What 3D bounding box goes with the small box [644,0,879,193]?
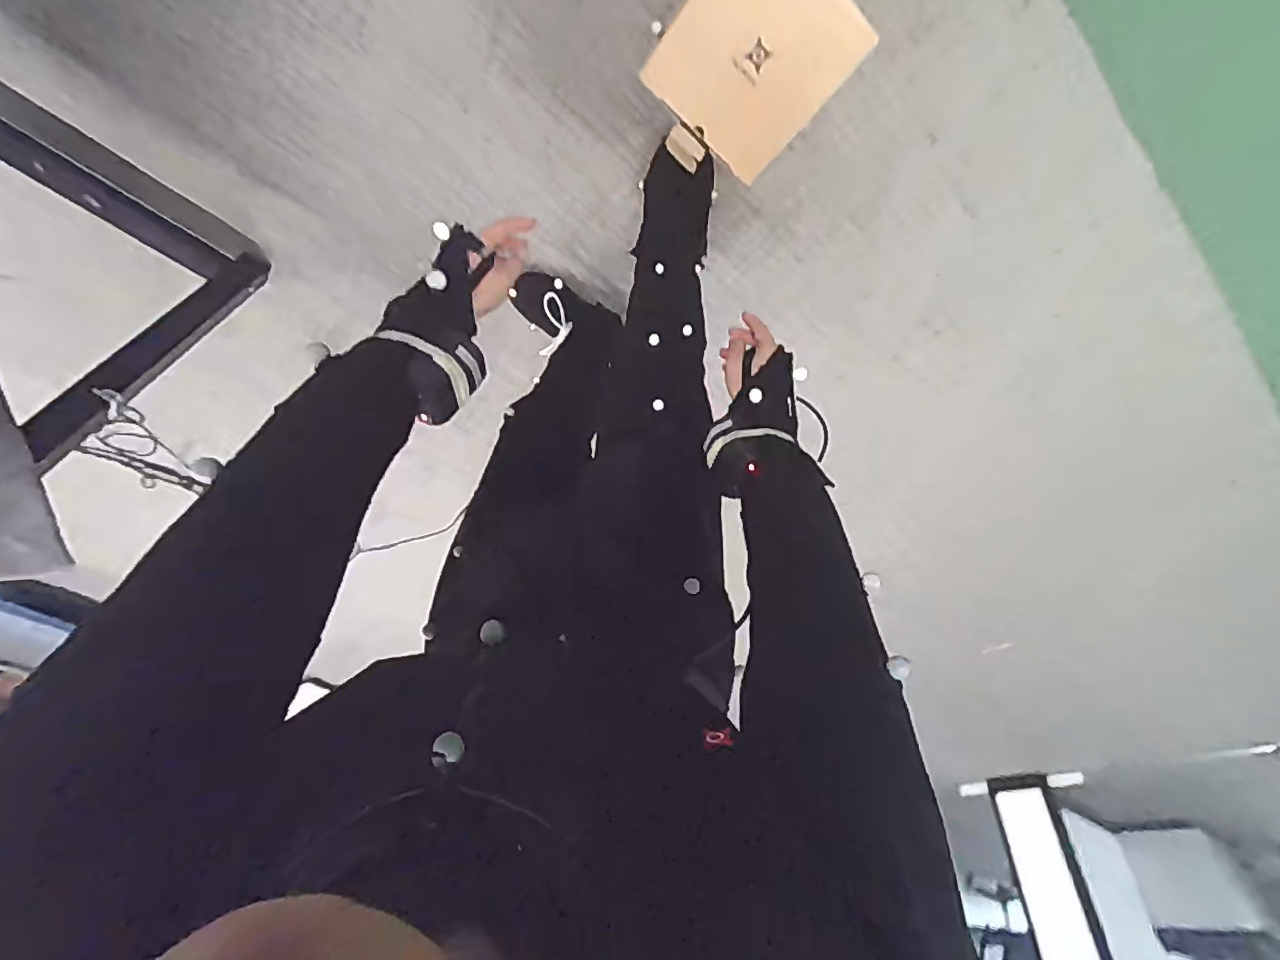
[{"bbox_3d":[0.123,-0.468,0.591,0.168,0.176,0.179,31,133,-23],"label":"small box"}]
